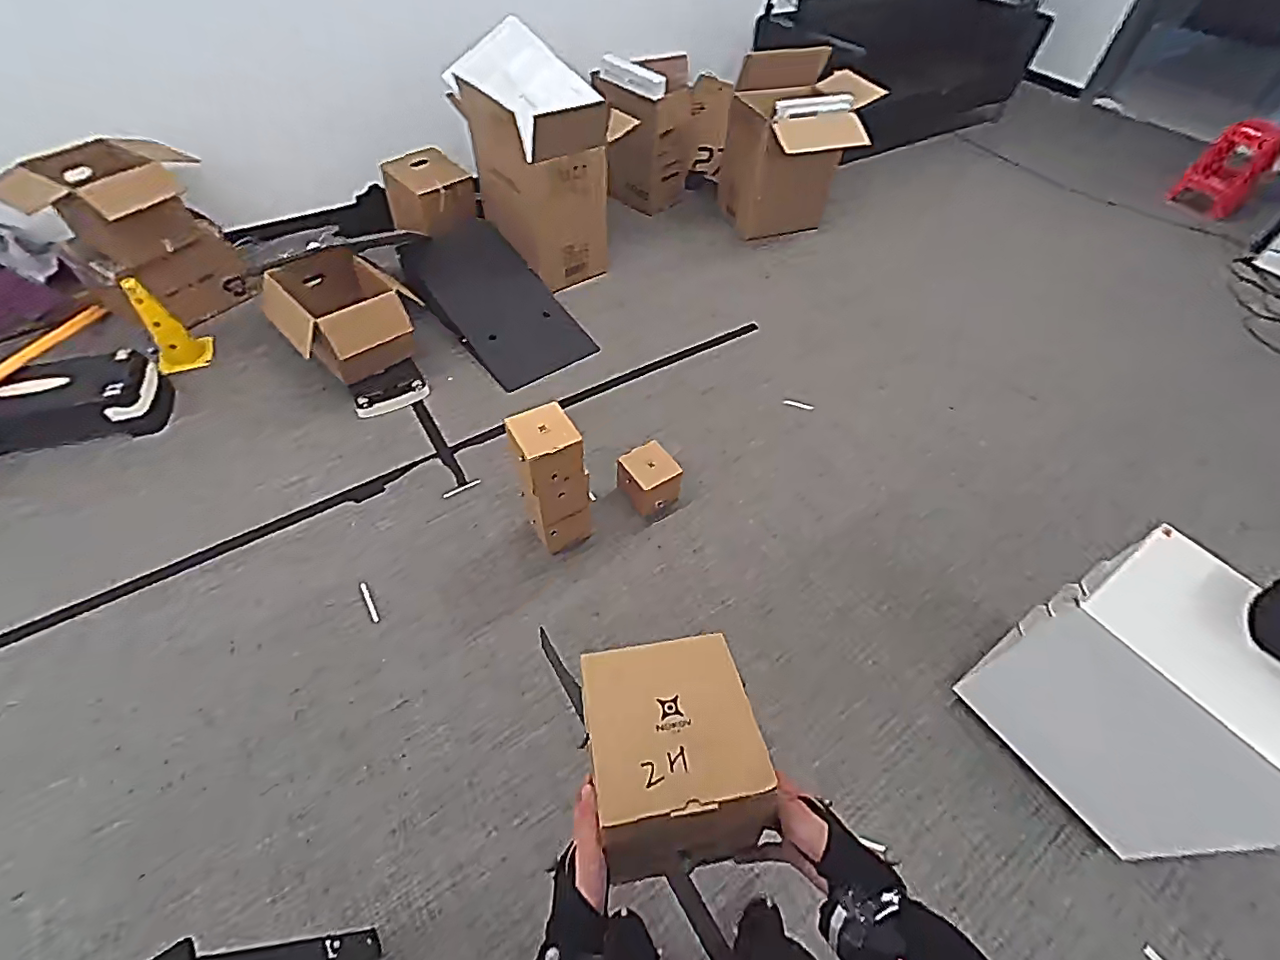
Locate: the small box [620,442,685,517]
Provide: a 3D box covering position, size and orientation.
[{"bbox_3d":[0.039,0.001,1.943,0.168,0.176,0.179,-28,60,-22],"label":"small box"}]

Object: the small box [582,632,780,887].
[{"bbox_3d":[0.029,0.295,0.583,0.168,0.176,0.179,-7,38,-9],"label":"small box"}]

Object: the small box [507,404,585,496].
[{"bbox_3d":[-0.270,-0.086,1.573,0.168,0.176,0.179,-24,58,-21],"label":"small box"}]

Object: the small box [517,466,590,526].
[{"bbox_3d":[-0.267,0.015,1.700,0.179,0.176,0.168,-25,57,-23],"label":"small box"}]
